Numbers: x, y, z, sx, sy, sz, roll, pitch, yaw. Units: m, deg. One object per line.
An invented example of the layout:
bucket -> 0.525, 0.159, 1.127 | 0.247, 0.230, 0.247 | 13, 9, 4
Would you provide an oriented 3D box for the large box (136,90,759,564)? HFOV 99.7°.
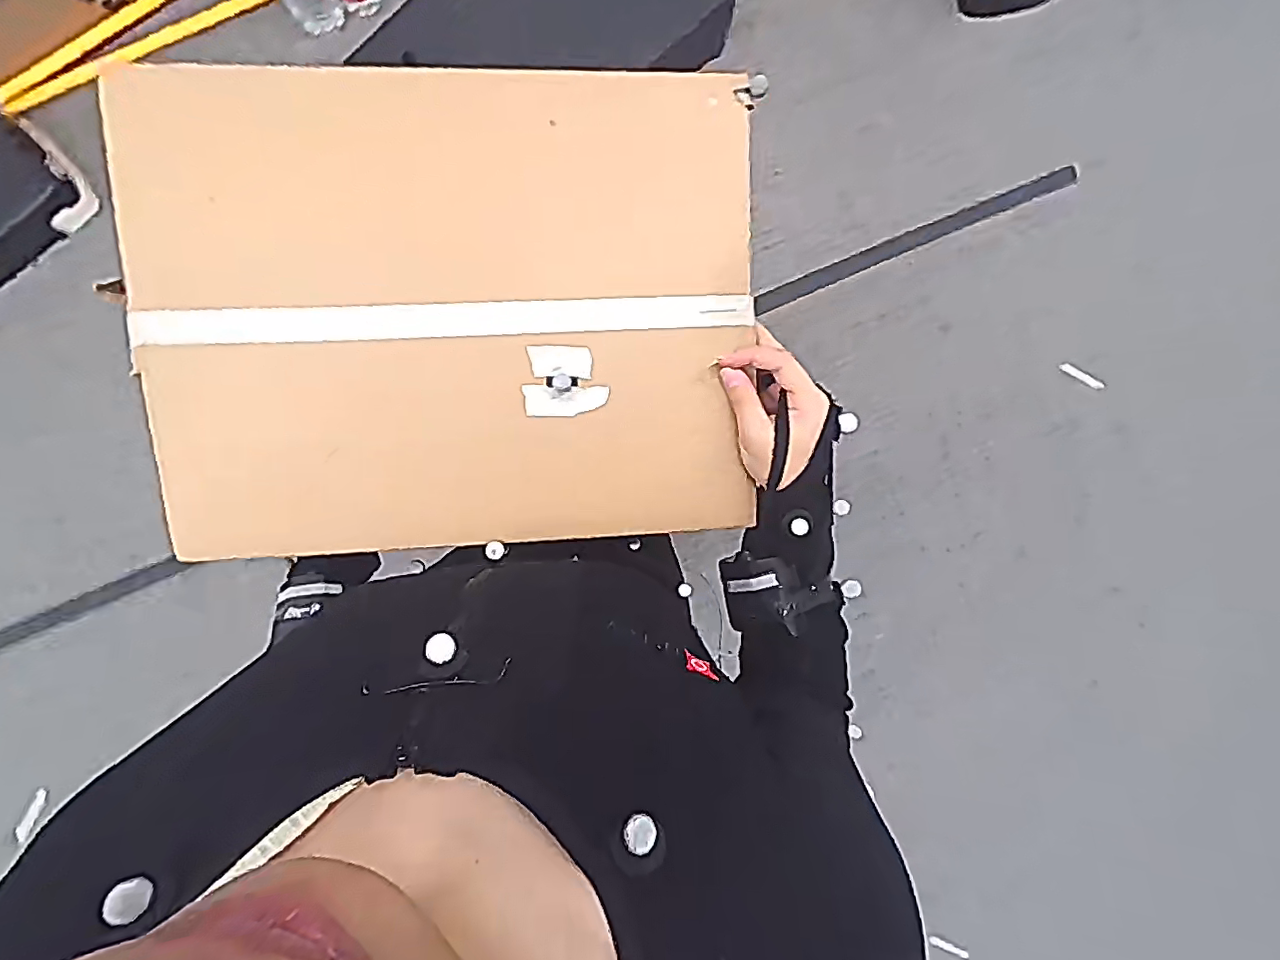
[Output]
large box -> -0.132, -0.123, 0.524 | 0.408, 0.320, 0.320 | -4, 98, -6
